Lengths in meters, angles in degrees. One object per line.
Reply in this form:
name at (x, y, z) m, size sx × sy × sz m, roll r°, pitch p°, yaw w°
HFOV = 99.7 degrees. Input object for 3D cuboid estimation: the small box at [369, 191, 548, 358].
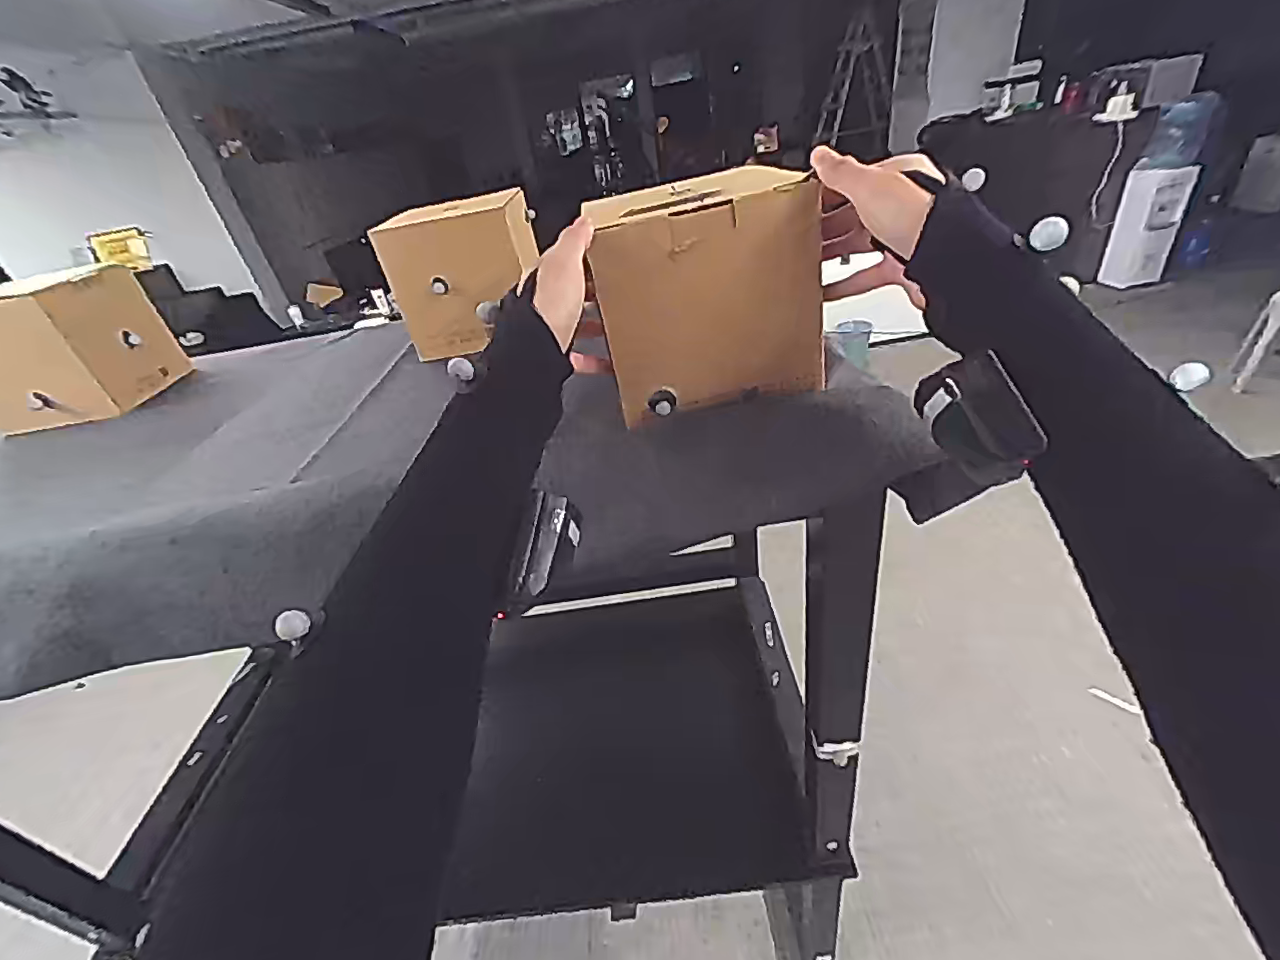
small box at (-0.228, -0.276, 0.737) m, size 0.168 × 0.176 × 0.179 m, roll -10°, pitch 34°, yaw 2°

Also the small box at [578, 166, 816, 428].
small box at (0.047, -0.157, 0.473) m, size 0.168 × 0.176 × 0.179 m, roll -12°, pitch 32°, yaw 2°

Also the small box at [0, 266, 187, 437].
small box at (-0.797, -0.178, 0.749) m, size 0.179 × 0.176 × 0.168 m, roll -9°, pitch 34°, yaw 0°
